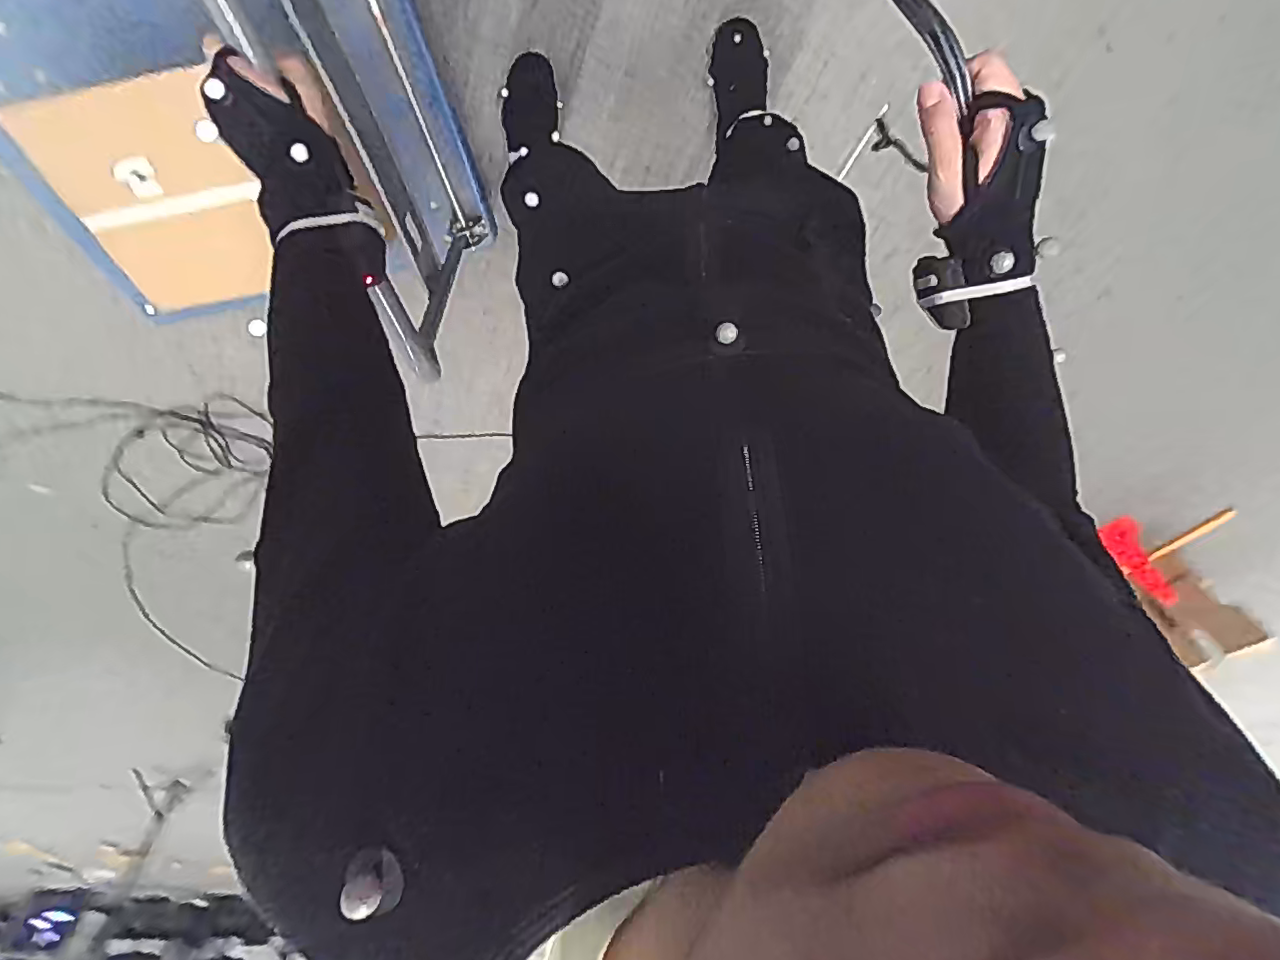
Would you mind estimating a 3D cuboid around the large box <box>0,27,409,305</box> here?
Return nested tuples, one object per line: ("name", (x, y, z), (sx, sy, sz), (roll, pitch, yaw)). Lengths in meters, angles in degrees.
("large box", (-0.696, -0.553, 0.954), (0.408, 0.320, 0.320), (-8, 133, 3))
